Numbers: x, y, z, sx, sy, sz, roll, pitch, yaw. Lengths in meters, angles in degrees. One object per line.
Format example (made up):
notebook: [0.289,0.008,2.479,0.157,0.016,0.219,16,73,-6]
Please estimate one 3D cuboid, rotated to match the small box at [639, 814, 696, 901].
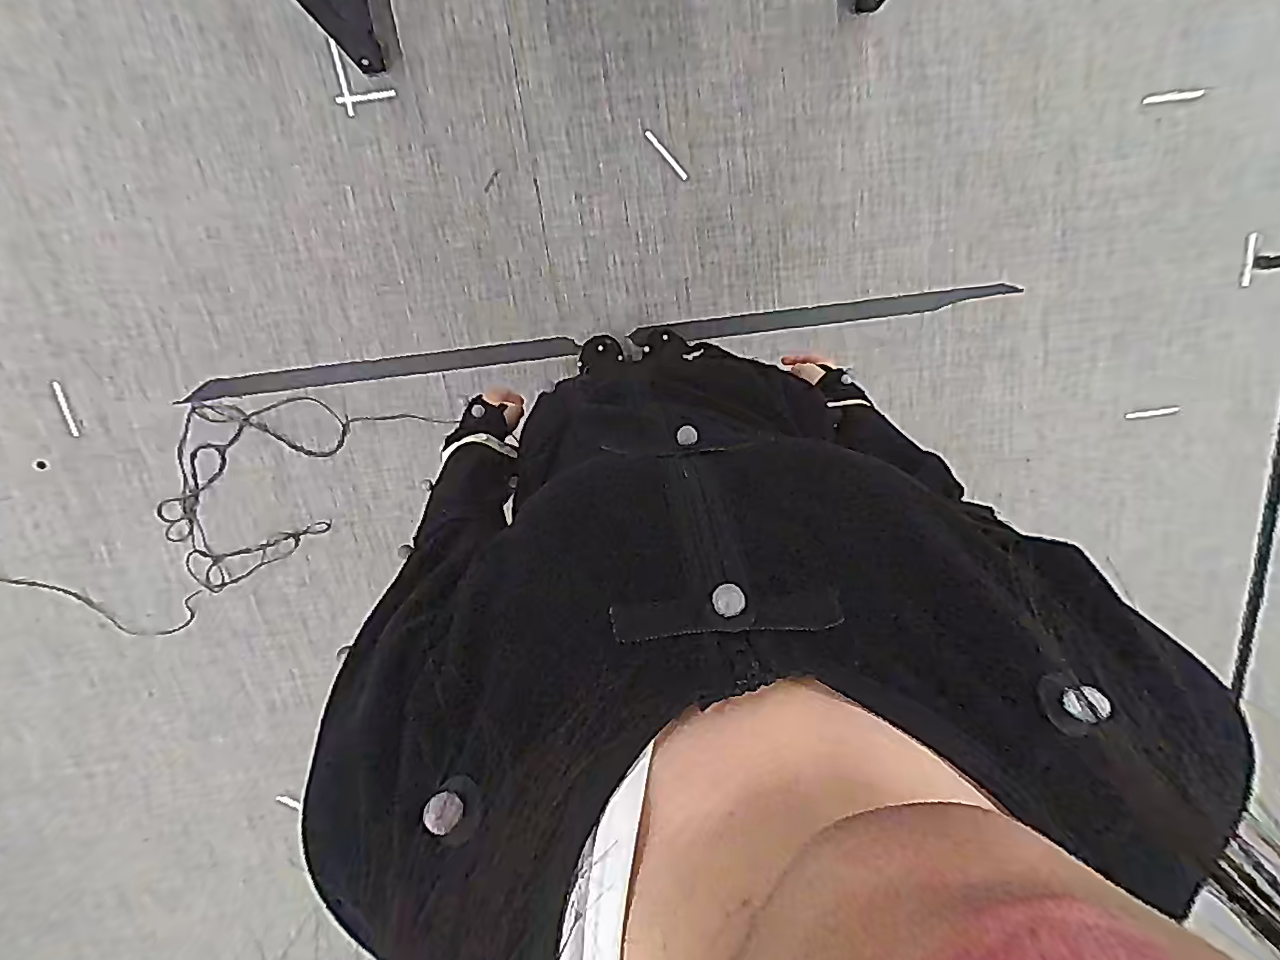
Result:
small box: [0.093,1.236,1.772,0.179,0.176,0.168,-9,105,-2]
